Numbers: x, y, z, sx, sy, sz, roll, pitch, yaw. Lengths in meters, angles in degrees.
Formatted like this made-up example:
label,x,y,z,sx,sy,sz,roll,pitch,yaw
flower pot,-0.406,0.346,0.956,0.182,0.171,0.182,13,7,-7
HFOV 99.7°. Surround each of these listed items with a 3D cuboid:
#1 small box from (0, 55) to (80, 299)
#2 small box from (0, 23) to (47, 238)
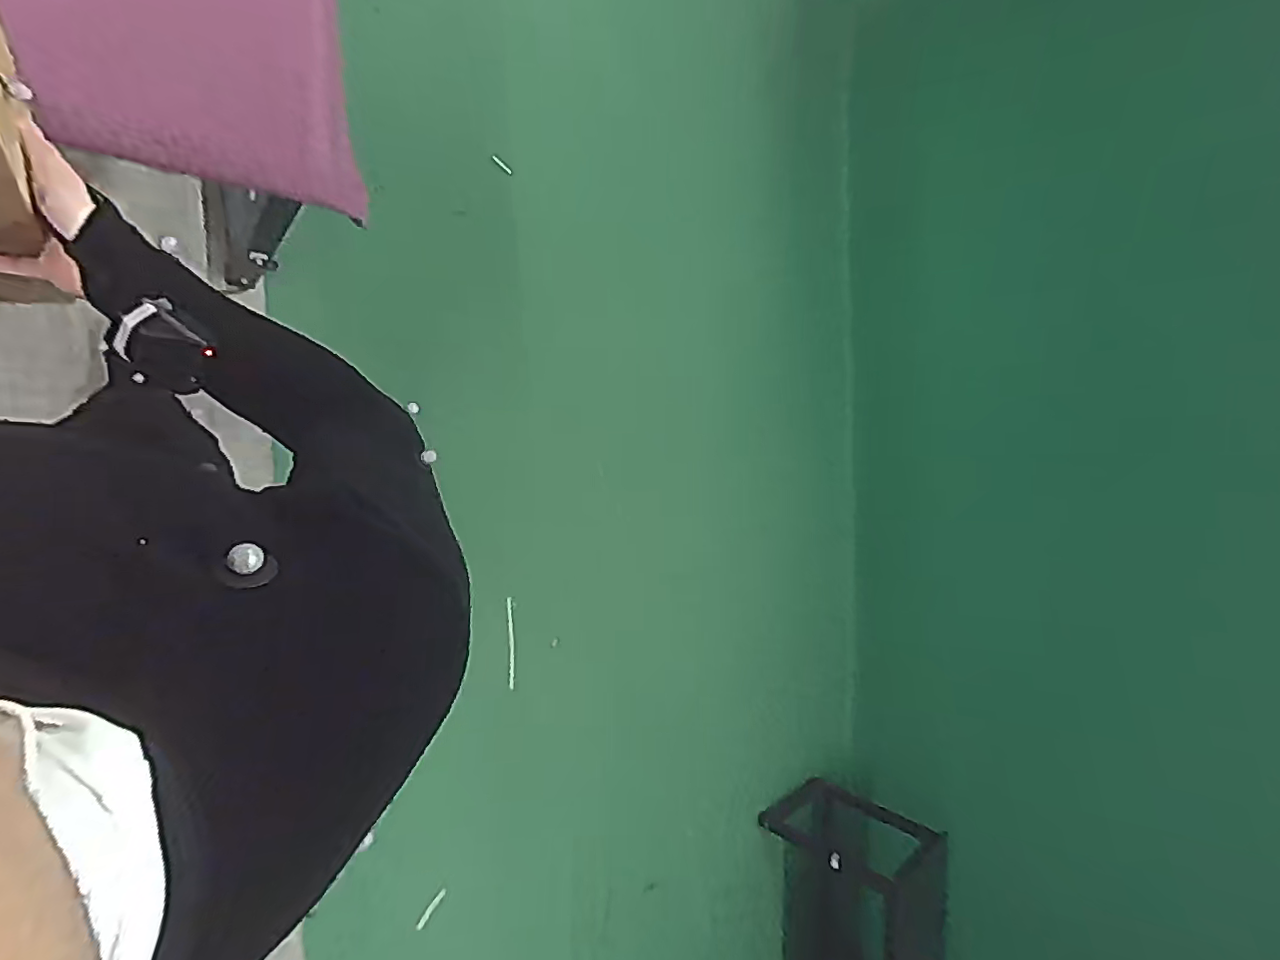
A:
label,x,y,z,sx,sy,sz,roll,pitch,yaw
small box,-0.658,-0.282,0.497,0.168,0.176,0.179,-13,97,-39
small box,-0.551,-0.288,0.369,0.168,0.176,0.179,-11,95,-40
